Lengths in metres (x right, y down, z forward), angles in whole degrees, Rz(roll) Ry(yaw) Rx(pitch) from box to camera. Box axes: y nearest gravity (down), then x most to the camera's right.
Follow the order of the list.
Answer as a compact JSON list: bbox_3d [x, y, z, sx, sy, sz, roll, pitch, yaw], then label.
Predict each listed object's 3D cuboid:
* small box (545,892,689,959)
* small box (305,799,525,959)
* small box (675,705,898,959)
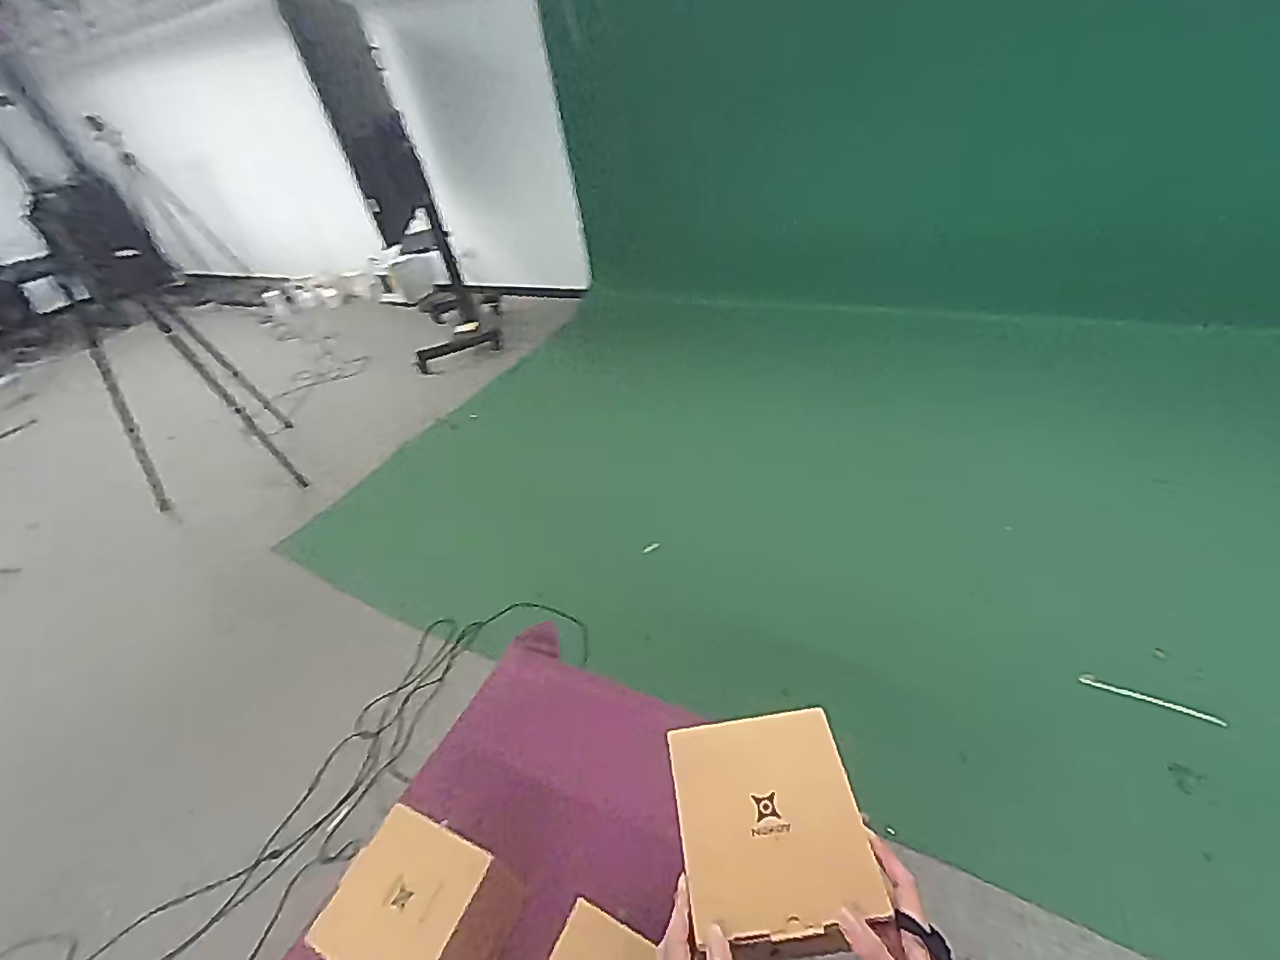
[{"bbox_3d":[-0.021,0.612,0.600,0.179,0.176,0.168,11,45,27],"label":"small box"},{"bbox_3d":[-0.284,0.570,0.718,0.179,0.176,0.168,11,45,24],"label":"small box"},{"bbox_3d":[0.130,0.359,0.553,0.168,0.176,0.179,-9,44,1],"label":"small box"}]
